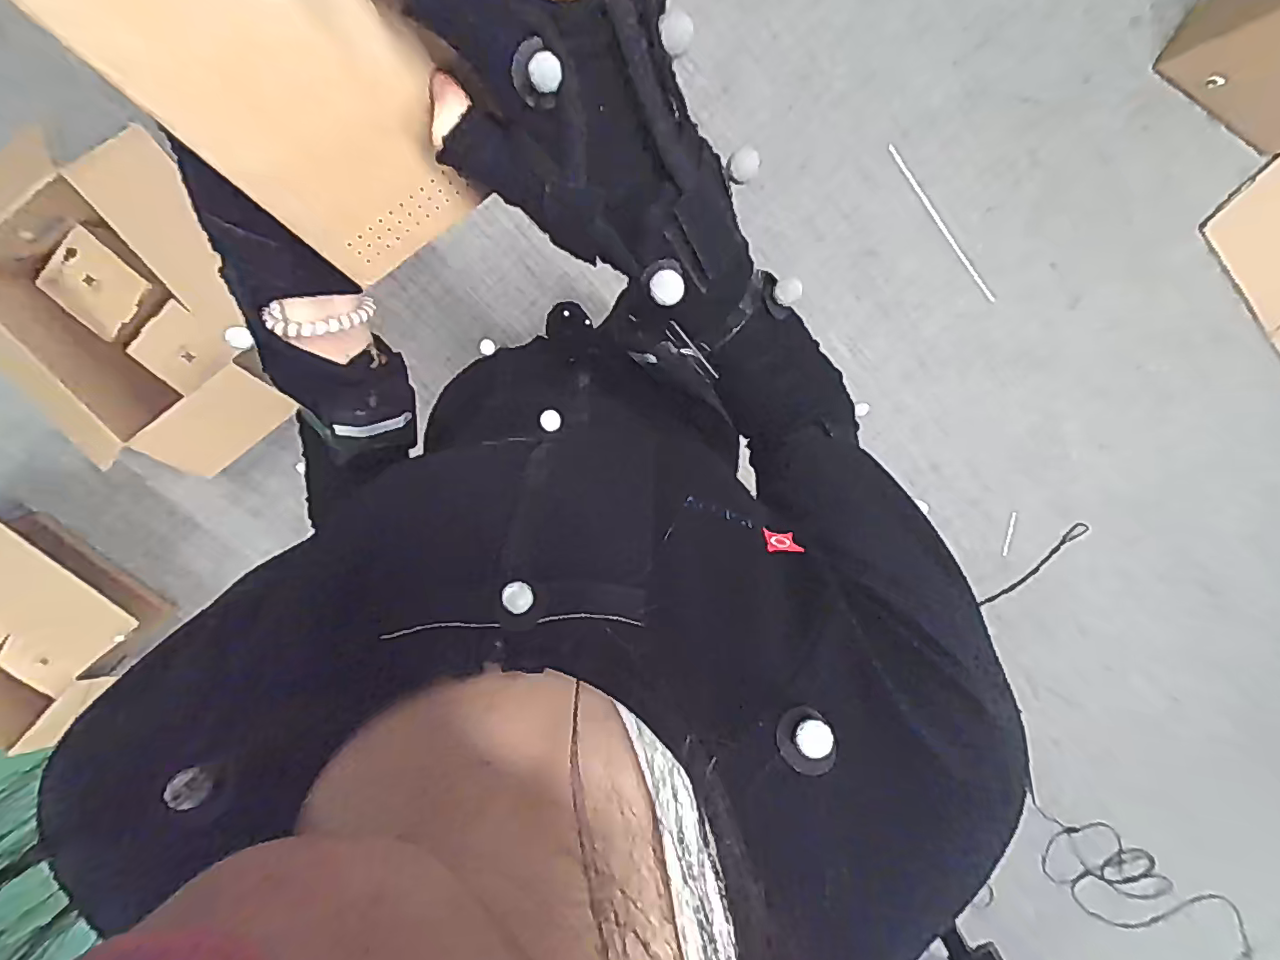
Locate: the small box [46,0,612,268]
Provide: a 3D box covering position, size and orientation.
[{"bbox_3d":[-0.139,-0.237,0.242,0.179,0.176,0.168,-36,70,2],"label":"small box"}]
